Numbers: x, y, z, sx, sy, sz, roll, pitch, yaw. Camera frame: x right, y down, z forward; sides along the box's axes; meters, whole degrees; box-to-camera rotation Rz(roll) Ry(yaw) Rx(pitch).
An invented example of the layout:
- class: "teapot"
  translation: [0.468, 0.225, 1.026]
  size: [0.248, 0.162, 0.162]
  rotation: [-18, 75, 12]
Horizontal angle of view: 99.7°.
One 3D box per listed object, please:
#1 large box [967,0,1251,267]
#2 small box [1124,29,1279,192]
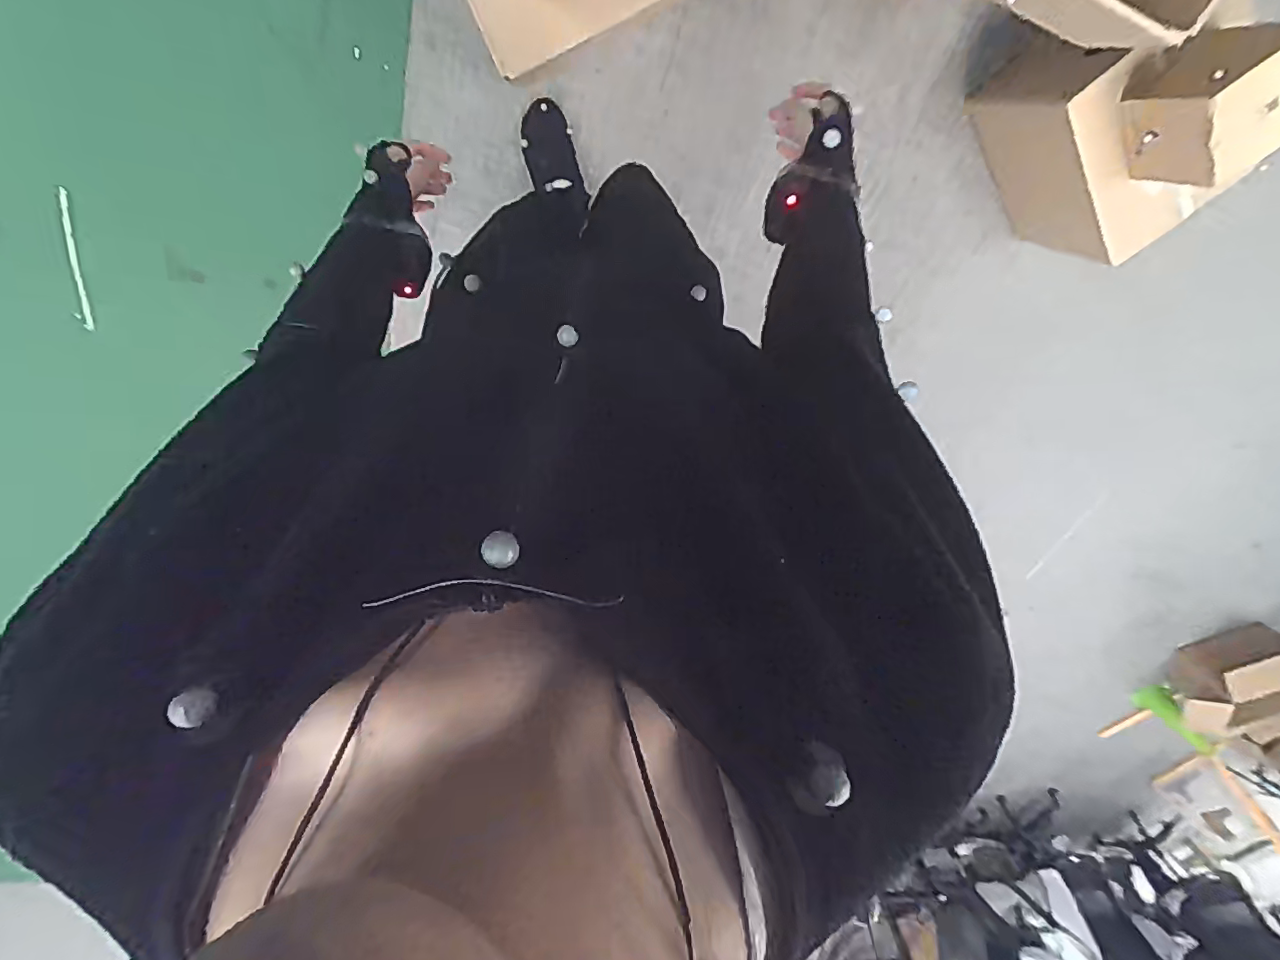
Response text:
- class: "large box"
  translation: [0.995, -0.748, 1.157]
  size: [0.320, 0.320, 0.408]
  rotation: [-38, 123, 18]
- class: "small box"
  translation: [1.003, -0.639, 0.935]
  size: [0.179, 0.176, 0.168]
  rotation: [-35, 123, 15]
